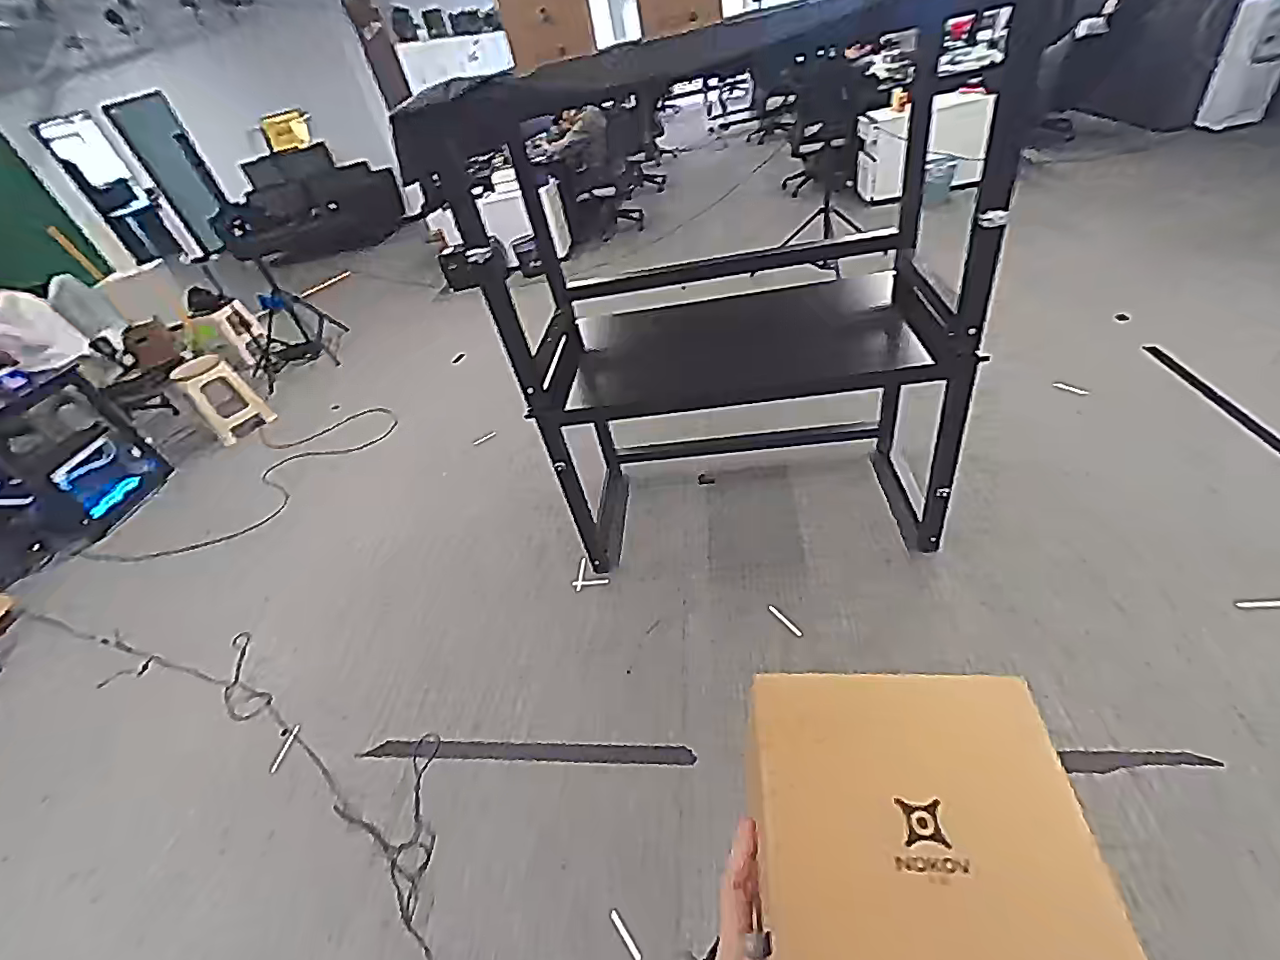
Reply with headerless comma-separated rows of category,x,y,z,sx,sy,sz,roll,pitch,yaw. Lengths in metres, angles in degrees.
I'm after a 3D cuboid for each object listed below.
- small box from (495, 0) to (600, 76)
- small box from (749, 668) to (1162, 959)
small box,-0.181,-0.926,1.079,0.168,0.176,0.179,-8,39,7
small box,0.158,0.238,0.335,0.168,0.176,0.179,-2,45,7
